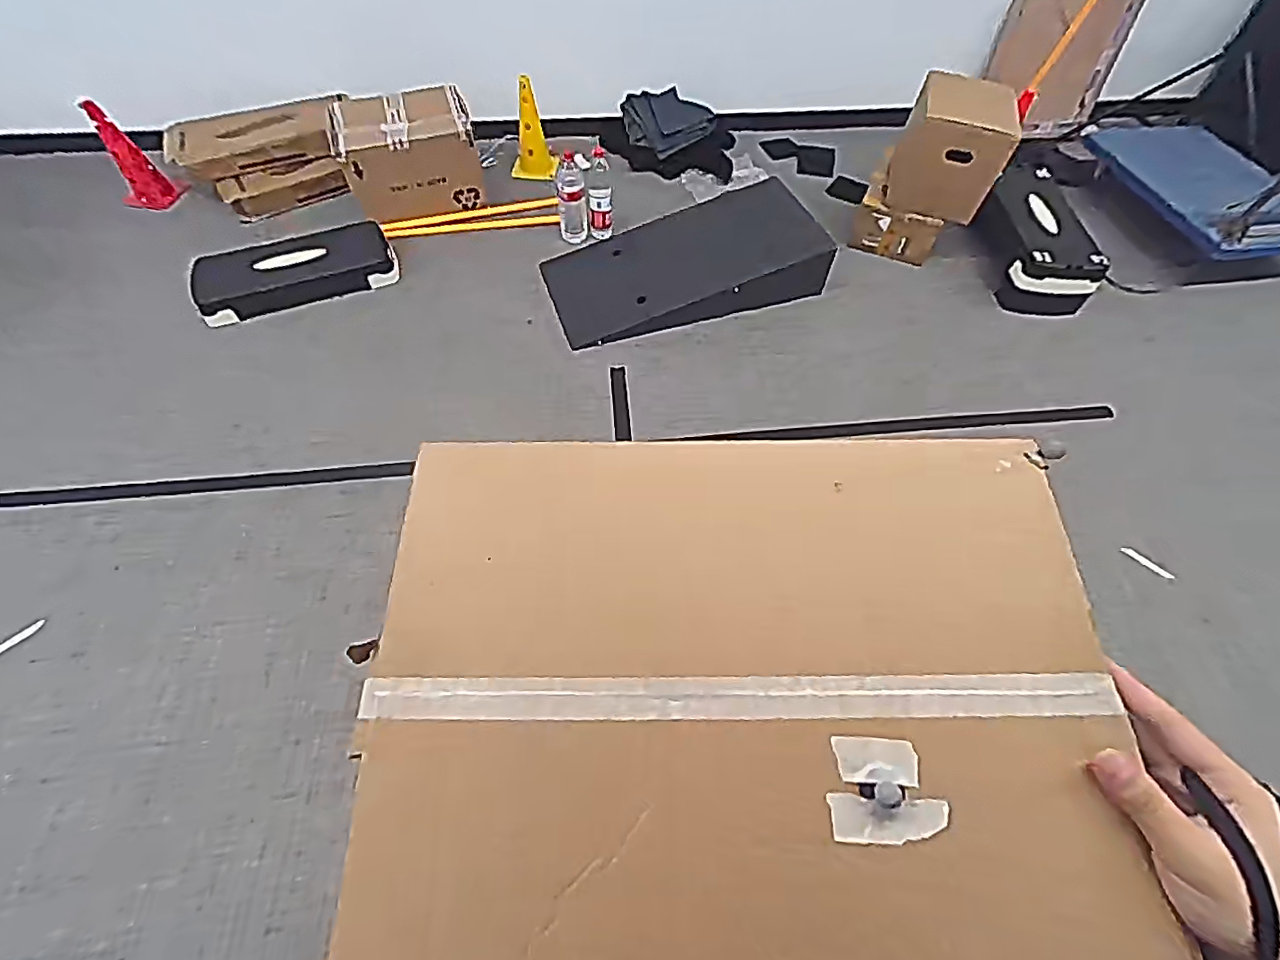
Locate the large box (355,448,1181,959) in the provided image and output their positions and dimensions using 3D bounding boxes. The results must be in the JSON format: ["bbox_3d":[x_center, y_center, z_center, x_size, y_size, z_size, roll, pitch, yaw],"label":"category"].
[{"bbox_3d":[0.057,0.182,0.442,0.408,0.320,0.320,-1,67,0],"label":"large box"}]
